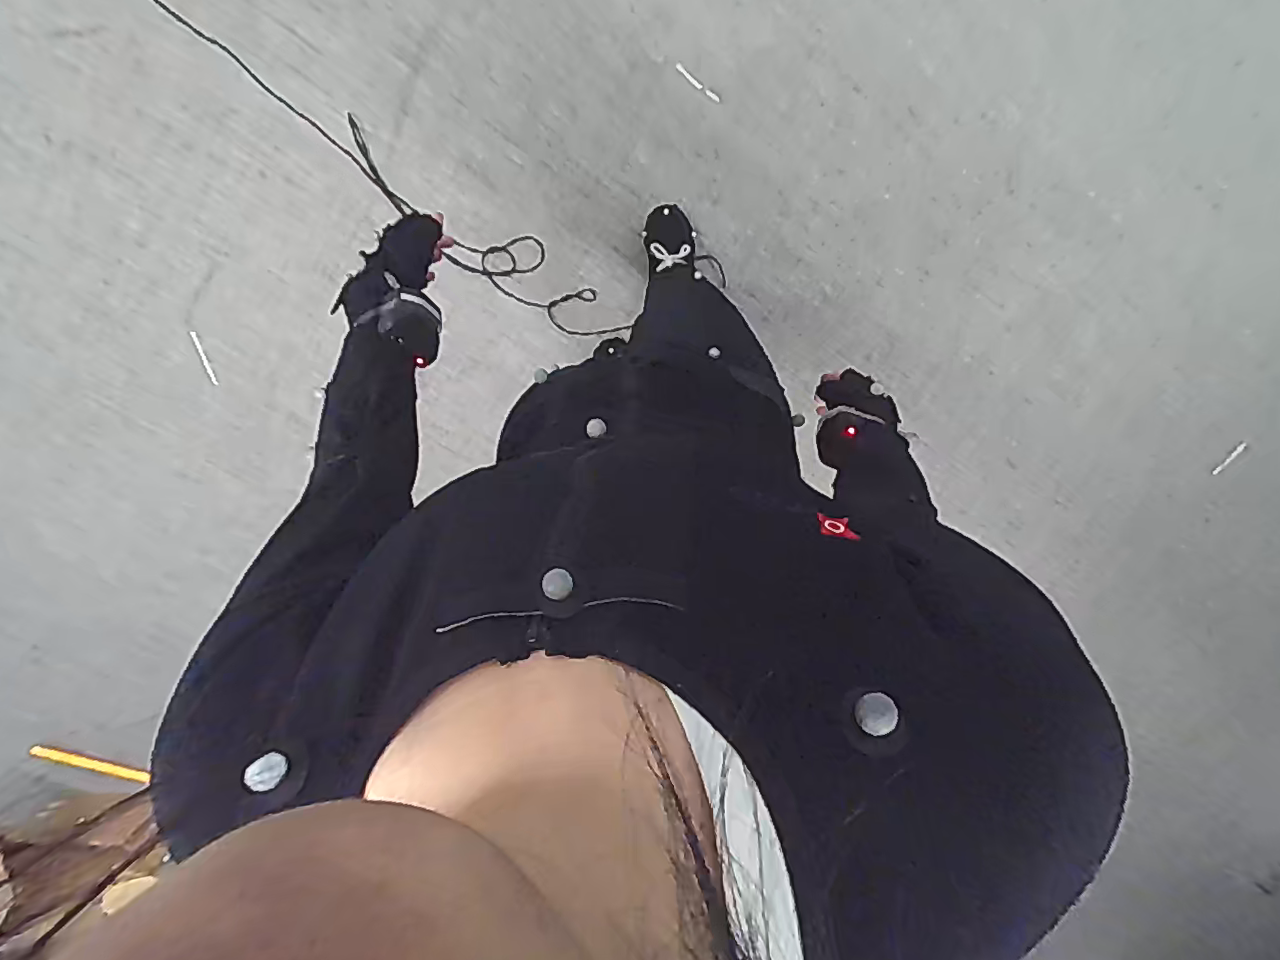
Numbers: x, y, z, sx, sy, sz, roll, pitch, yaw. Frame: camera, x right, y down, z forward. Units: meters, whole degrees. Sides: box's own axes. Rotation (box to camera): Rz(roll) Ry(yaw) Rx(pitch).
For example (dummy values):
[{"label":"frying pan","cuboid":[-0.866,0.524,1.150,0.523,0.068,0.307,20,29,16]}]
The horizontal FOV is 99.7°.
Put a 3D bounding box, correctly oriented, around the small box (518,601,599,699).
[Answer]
[{"label":"small box","cuboid":[-0.229,0.490,1.576,0.168,0.176,0.179,31,105,-11]}]
